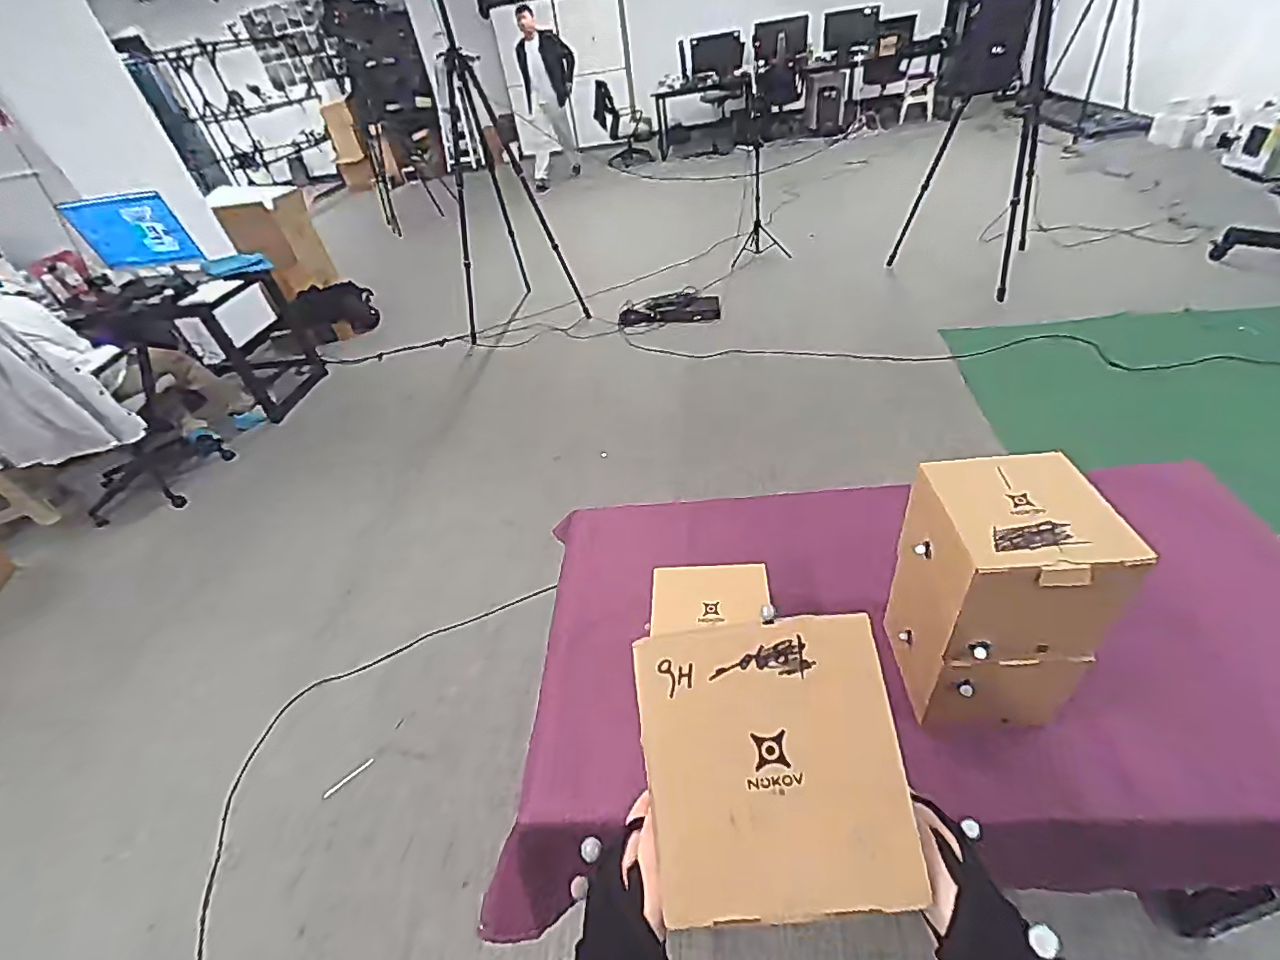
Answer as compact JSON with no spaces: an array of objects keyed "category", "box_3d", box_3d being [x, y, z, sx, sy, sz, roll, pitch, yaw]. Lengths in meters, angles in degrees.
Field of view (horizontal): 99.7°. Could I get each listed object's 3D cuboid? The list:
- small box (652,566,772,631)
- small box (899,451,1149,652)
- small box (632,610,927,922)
[{"category":"small box","box_3d":[0.109,0.248,0.786,0.168,0.176,0.179,-5,40,8]},{"category":"small box","box_3d":[0.428,0.089,0.643,0.168,0.176,0.179,-5,38,7]},{"category":"small box","box_3d":[0.093,0.201,0.431,0.168,0.176,0.179,-9,75,4]}]
